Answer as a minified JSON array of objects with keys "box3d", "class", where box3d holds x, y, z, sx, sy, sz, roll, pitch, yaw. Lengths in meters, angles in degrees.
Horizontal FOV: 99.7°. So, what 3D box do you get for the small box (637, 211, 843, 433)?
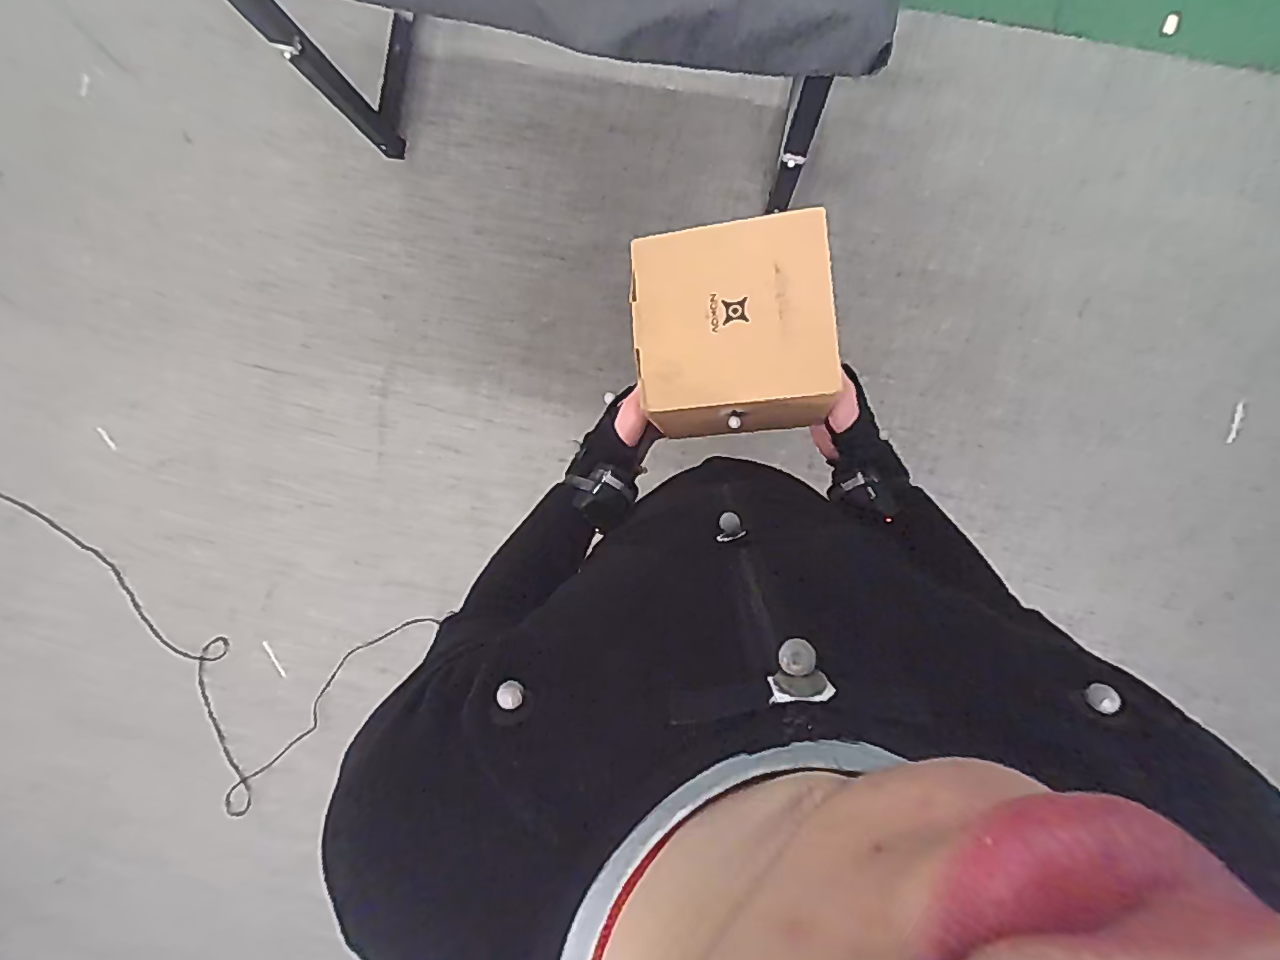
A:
[{"box3d":[0.102,-0.147,0.568,0.179,0.176,0.168,-5,86,10],"class":"small box"}]
